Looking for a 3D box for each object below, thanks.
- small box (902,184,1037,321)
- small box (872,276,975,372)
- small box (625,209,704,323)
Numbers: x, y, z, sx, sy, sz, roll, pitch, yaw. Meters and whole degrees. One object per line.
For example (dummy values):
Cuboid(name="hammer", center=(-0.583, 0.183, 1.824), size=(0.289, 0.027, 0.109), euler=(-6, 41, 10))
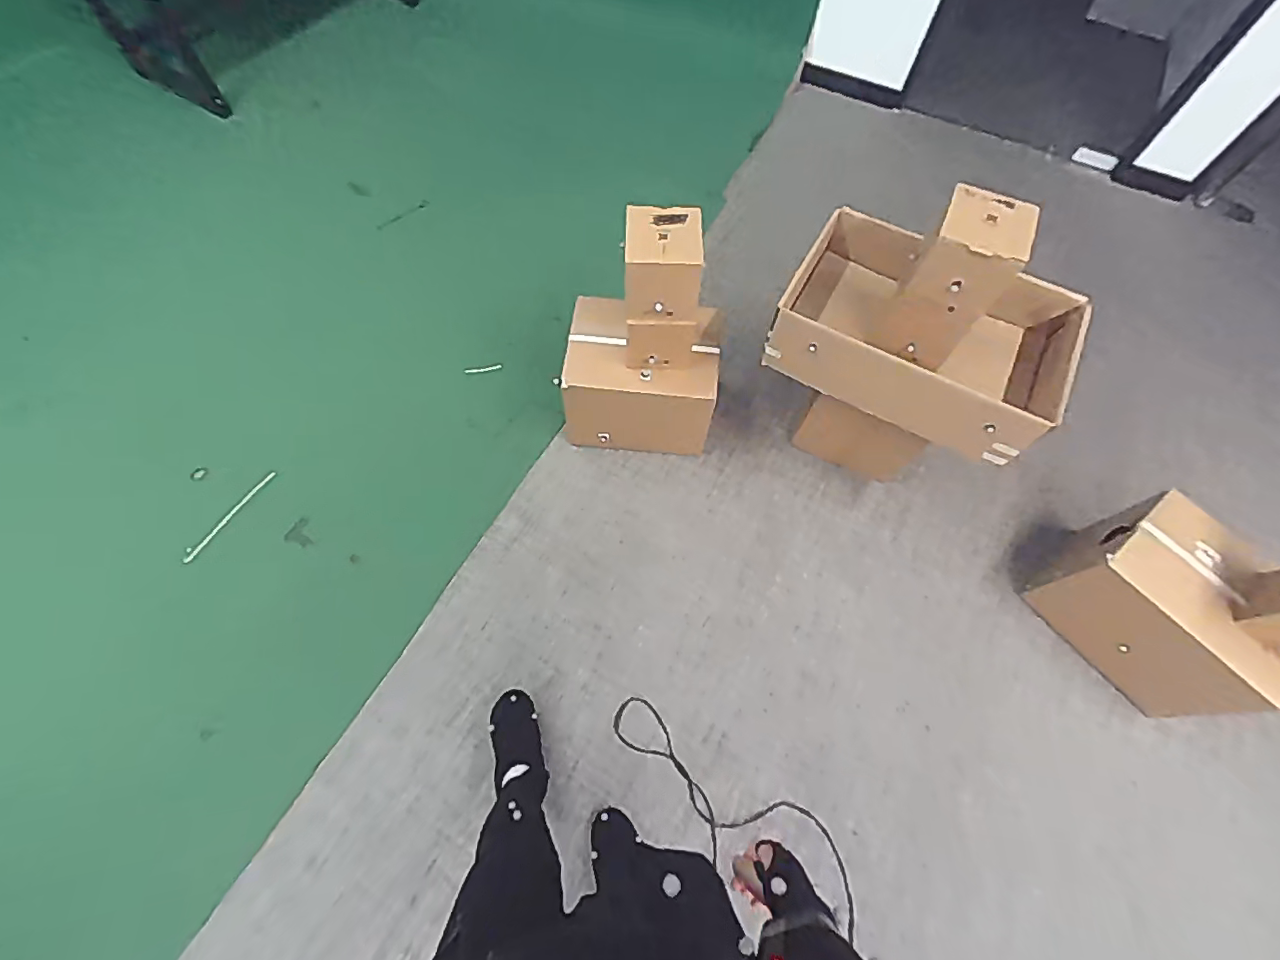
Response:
Cuboid(name="small box", center=(0.671, -0.463, 1.119), size=(0.168, 0.176, 0.179), euler=(24, 67, 10))
Cuboid(name="small box", center=(0.672, -0.391, 1.266), size=(0.168, 0.176, 0.179), euler=(26, 67, 12))
Cuboid(name="small box", center=(0.051, -0.484, 1.230), size=(0.168, 0.176, 0.179), euler=(1, 63, 0))
